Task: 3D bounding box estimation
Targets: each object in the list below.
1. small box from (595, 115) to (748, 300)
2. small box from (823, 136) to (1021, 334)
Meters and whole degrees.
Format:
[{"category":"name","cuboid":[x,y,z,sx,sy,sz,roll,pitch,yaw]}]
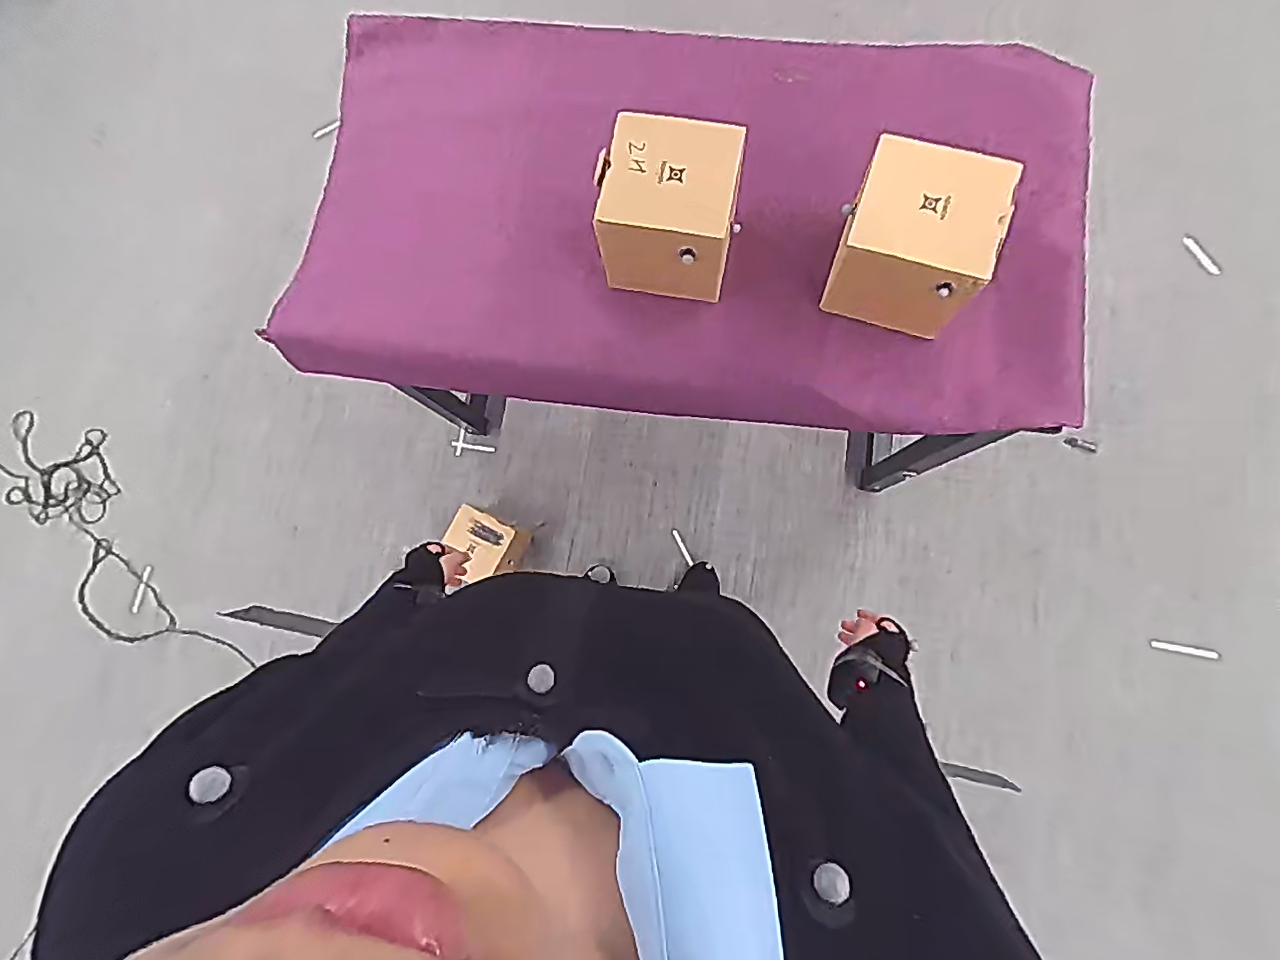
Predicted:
[{"category":"small box","cuboid":[0.048,-0.382,0.784,0.179,0.176,0.168,11,80,7]},{"category":"small box","cuboid":[0.371,-0.325,0.745,0.179,0.176,0.168,18,82,8]}]
